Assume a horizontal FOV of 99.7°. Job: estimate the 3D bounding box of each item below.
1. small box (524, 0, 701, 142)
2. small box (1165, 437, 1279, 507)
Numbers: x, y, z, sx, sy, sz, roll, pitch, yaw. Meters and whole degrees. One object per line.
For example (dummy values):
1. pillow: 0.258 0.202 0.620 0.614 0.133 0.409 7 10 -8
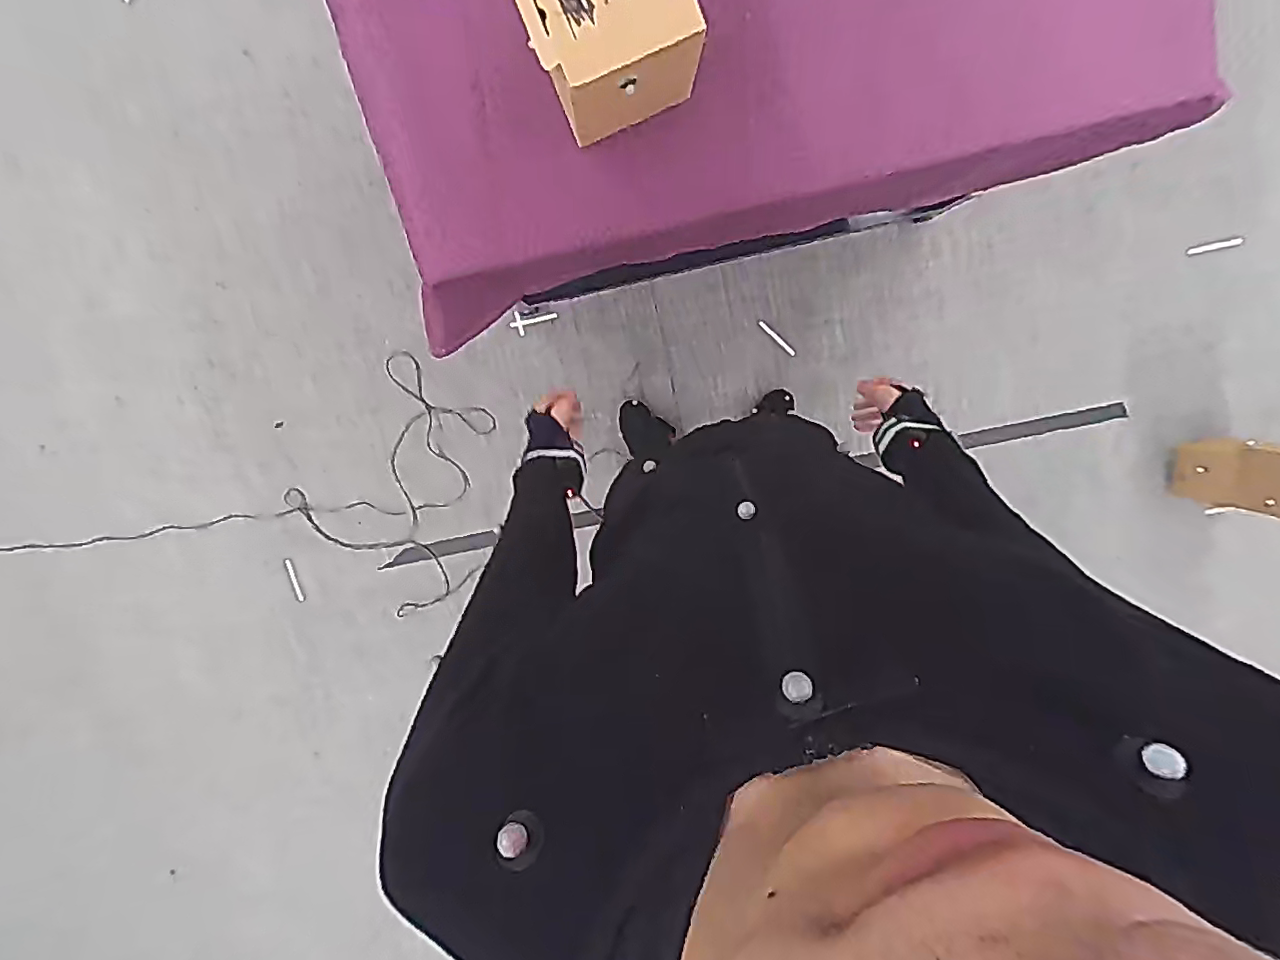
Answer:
1. small box: -0.041 -0.573 0.688 0.179 0.176 0.168 -23 102 2
2. small box: 1.721 -0.028 1.604 0.179 0.176 0.168 -9 102 -1
